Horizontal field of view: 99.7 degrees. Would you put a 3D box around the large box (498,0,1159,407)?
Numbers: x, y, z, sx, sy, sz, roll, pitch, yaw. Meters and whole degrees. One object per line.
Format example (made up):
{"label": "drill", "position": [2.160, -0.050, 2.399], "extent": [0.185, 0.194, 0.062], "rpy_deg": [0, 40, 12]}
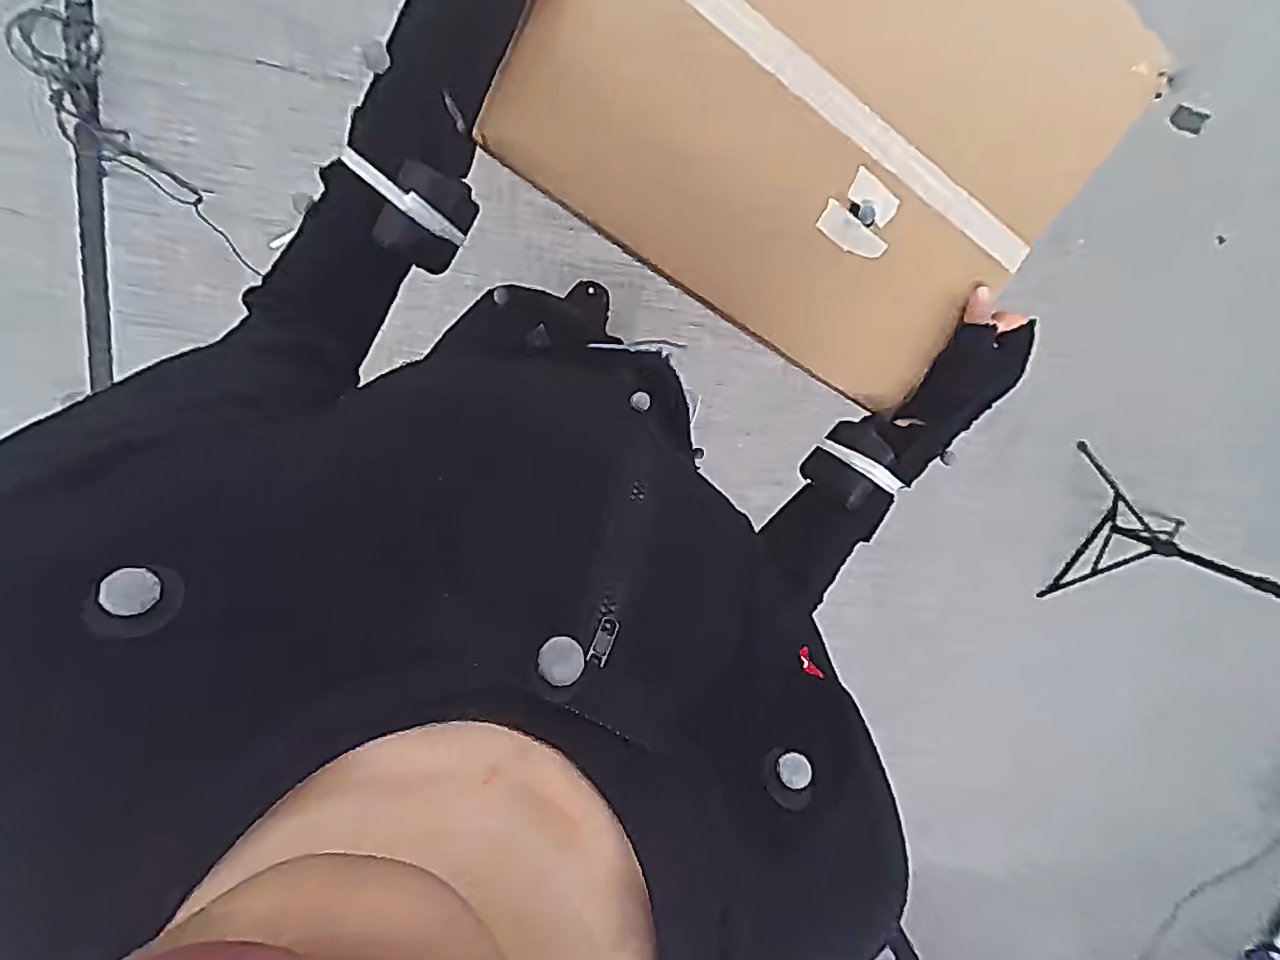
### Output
{"label": "large box", "position": [0.128, -0.335, 0.528], "extent": [0.408, 0.320, 0.320], "rpy_deg": [29, 110, -17]}
